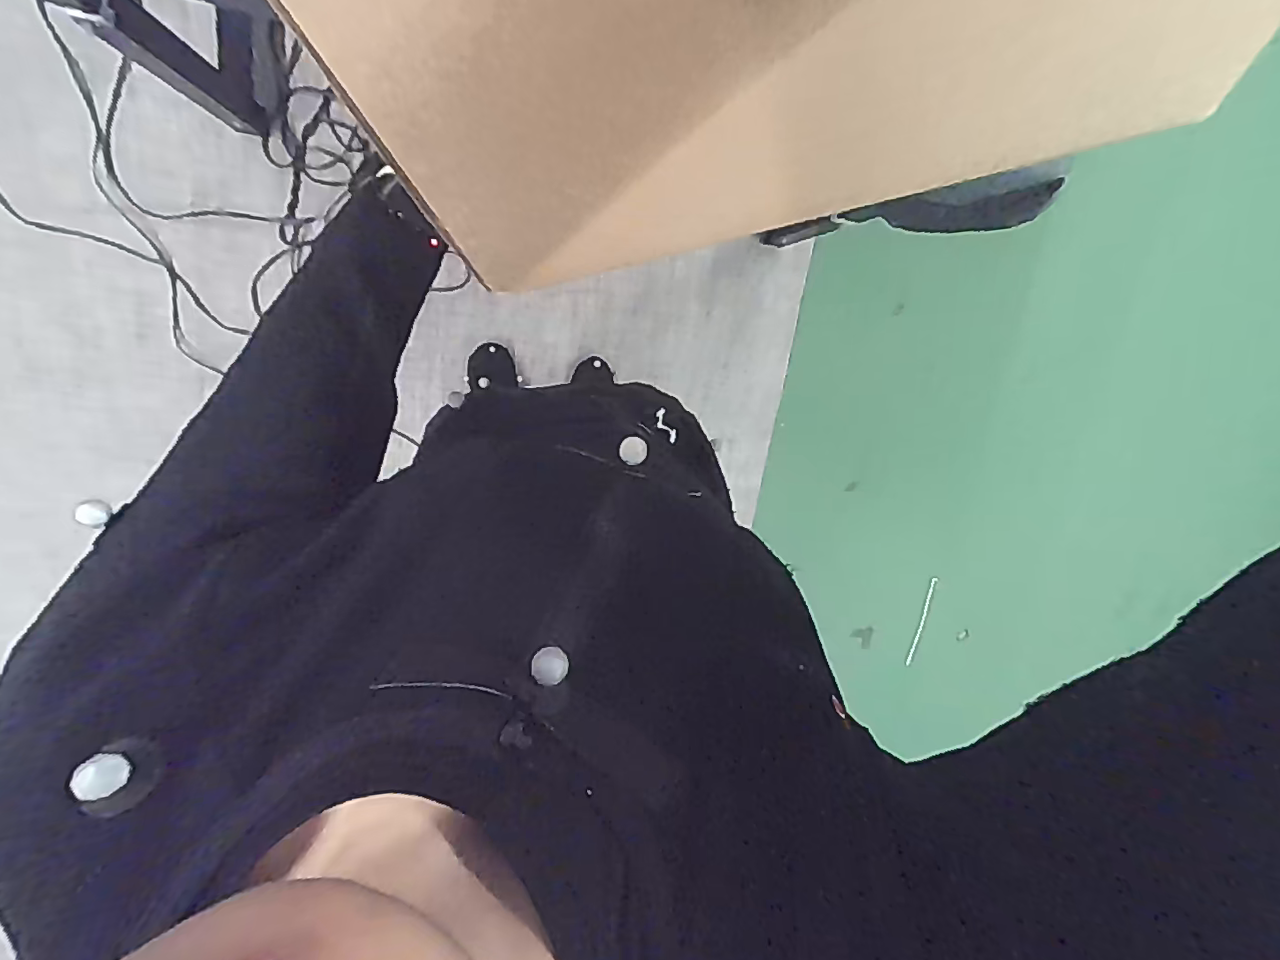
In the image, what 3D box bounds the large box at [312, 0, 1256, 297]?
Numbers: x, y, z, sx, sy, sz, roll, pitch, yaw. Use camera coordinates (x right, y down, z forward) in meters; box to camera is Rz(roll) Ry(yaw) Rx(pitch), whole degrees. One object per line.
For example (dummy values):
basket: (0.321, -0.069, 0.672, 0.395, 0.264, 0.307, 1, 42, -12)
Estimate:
large box: (0.056, -0.348, 0.250, 0.408, 0.320, 0.320, -12, 67, 11)
